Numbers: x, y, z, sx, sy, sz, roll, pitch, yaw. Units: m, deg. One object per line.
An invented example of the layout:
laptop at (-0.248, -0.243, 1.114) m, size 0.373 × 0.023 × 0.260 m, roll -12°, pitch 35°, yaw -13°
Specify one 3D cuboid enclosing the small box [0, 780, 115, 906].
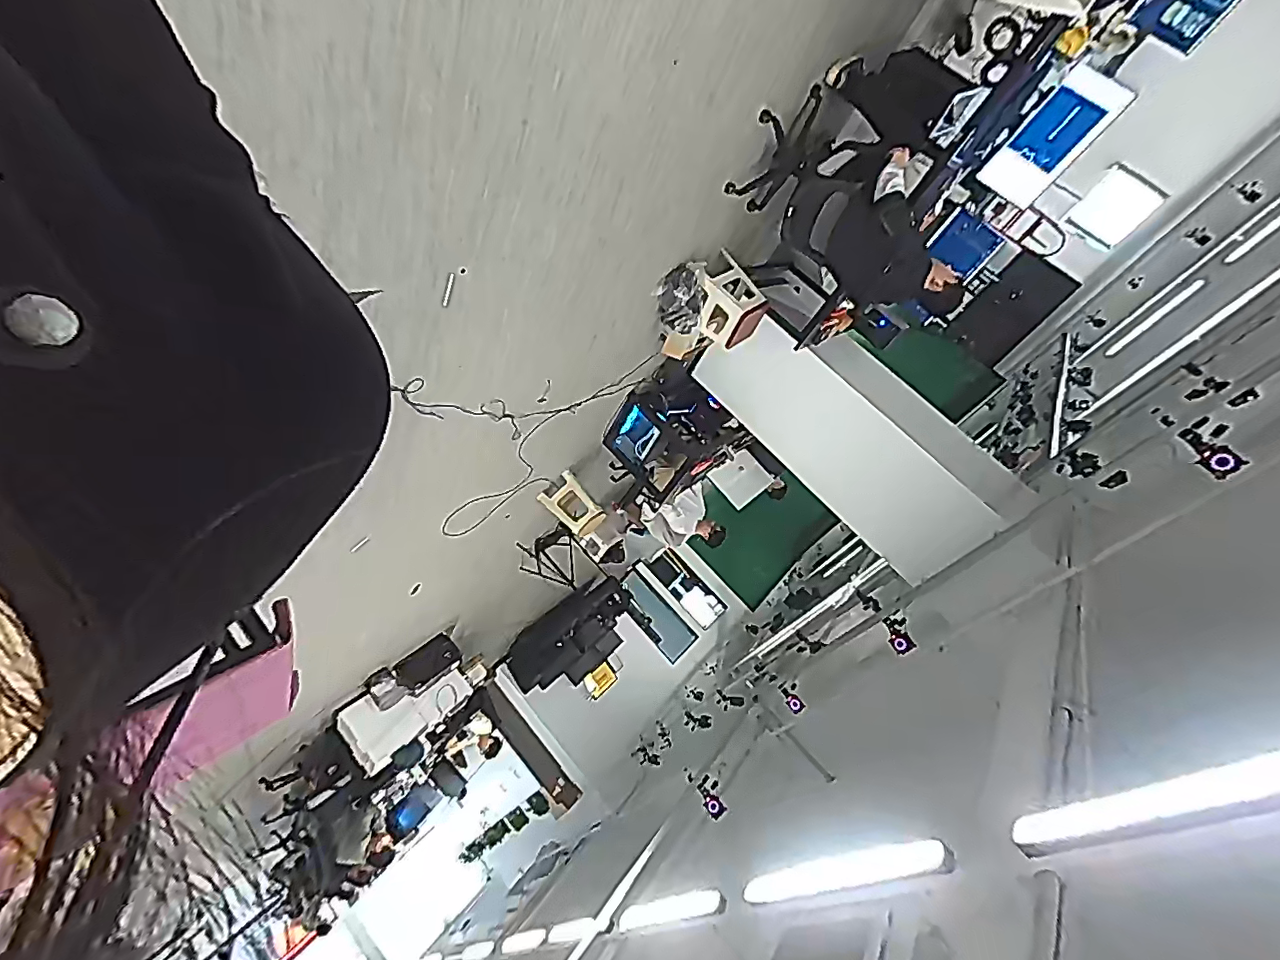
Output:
small box at (-1.389, 0.848, 1.273) m, size 0.168 × 0.176 × 0.179 m, roll -31°, pitch 162°, yaw -50°
